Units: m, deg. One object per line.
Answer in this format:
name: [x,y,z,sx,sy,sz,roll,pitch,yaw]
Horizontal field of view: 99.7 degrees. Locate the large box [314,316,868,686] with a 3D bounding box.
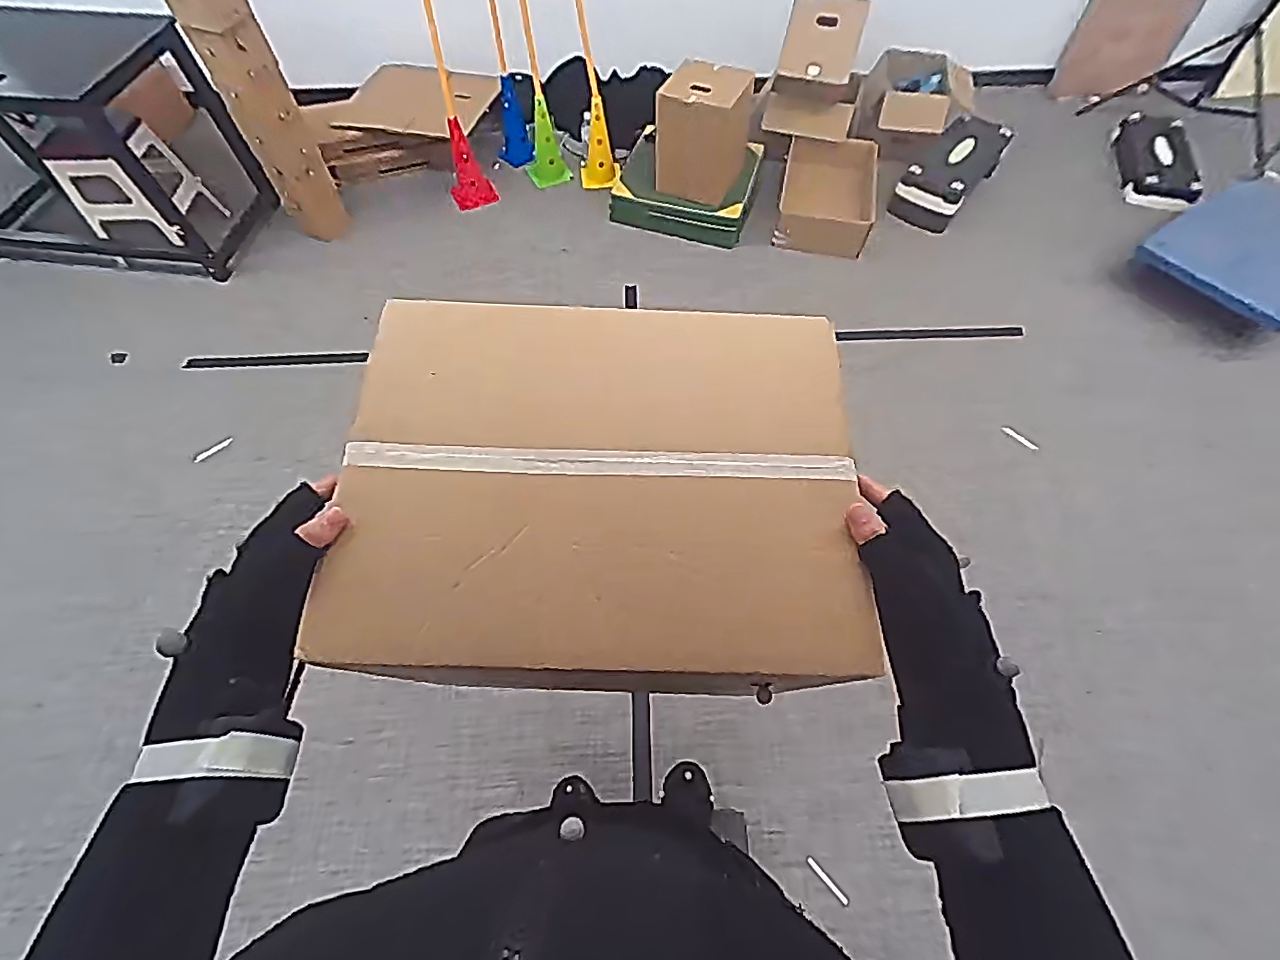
large box: [-0.034,0.053,0.578,0.408,0.320,0.320,2,66,-2]

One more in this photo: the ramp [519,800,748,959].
ramp: [-0.005,1.220,1.085,0.509,0.206,0.991,-2,61,-3]
